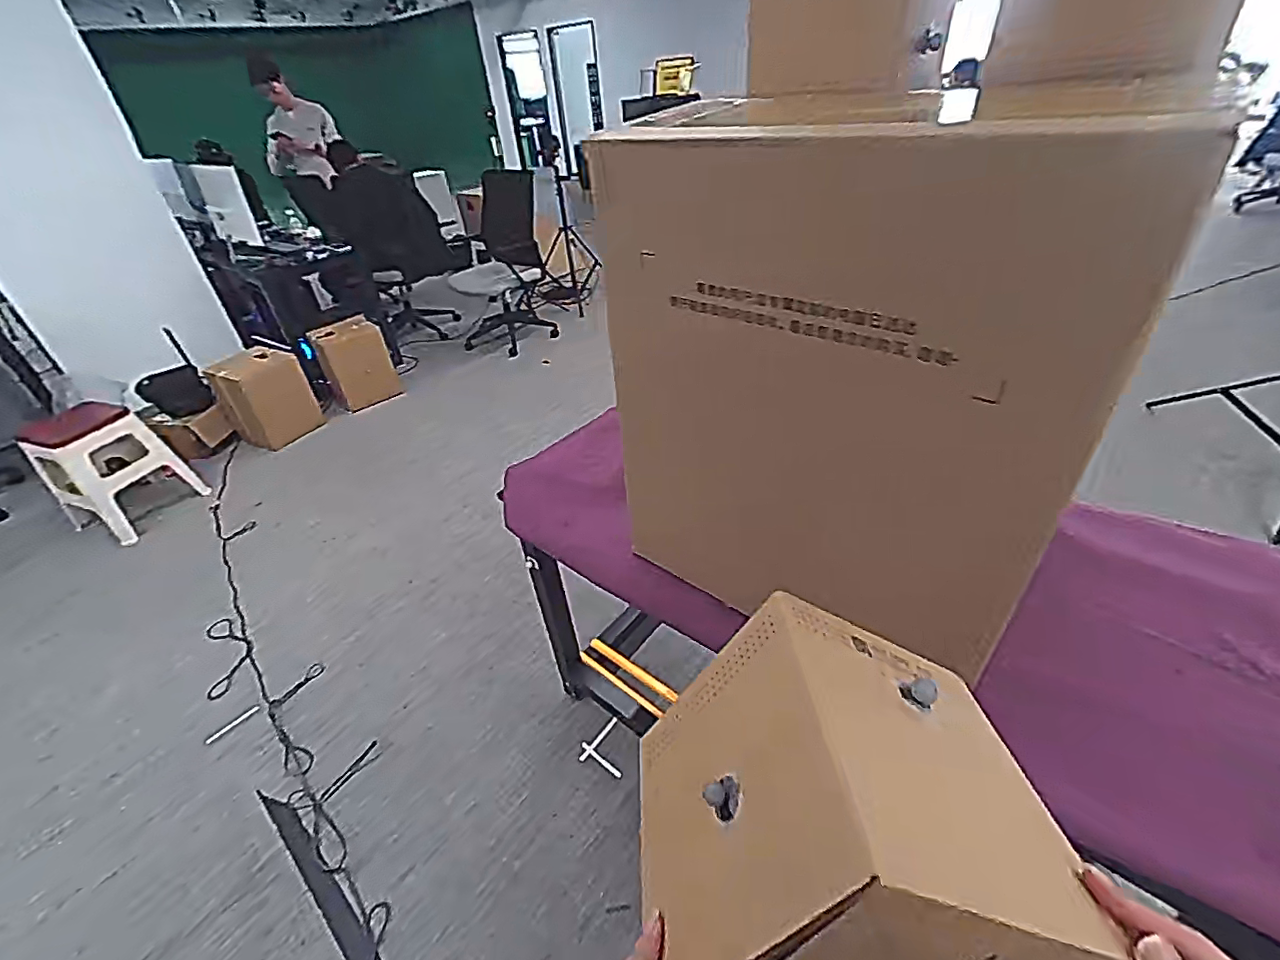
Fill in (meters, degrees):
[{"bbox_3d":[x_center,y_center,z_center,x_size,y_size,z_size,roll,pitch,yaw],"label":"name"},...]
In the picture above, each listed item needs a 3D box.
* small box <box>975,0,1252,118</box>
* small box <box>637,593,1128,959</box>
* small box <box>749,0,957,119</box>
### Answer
[{"bbox_3d":[0.430,-0.437,0.480,0.179,0.176,0.168,19,43,32],"label":"small box"},{"bbox_3d":[0.110,0.206,0.330,0.168,0.179,0.176,26,25,-15],"label":"small box"},{"bbox_3d":[0.237,-0.515,0.608,0.179,0.176,0.168,25,48,32],"label":"small box"}]
